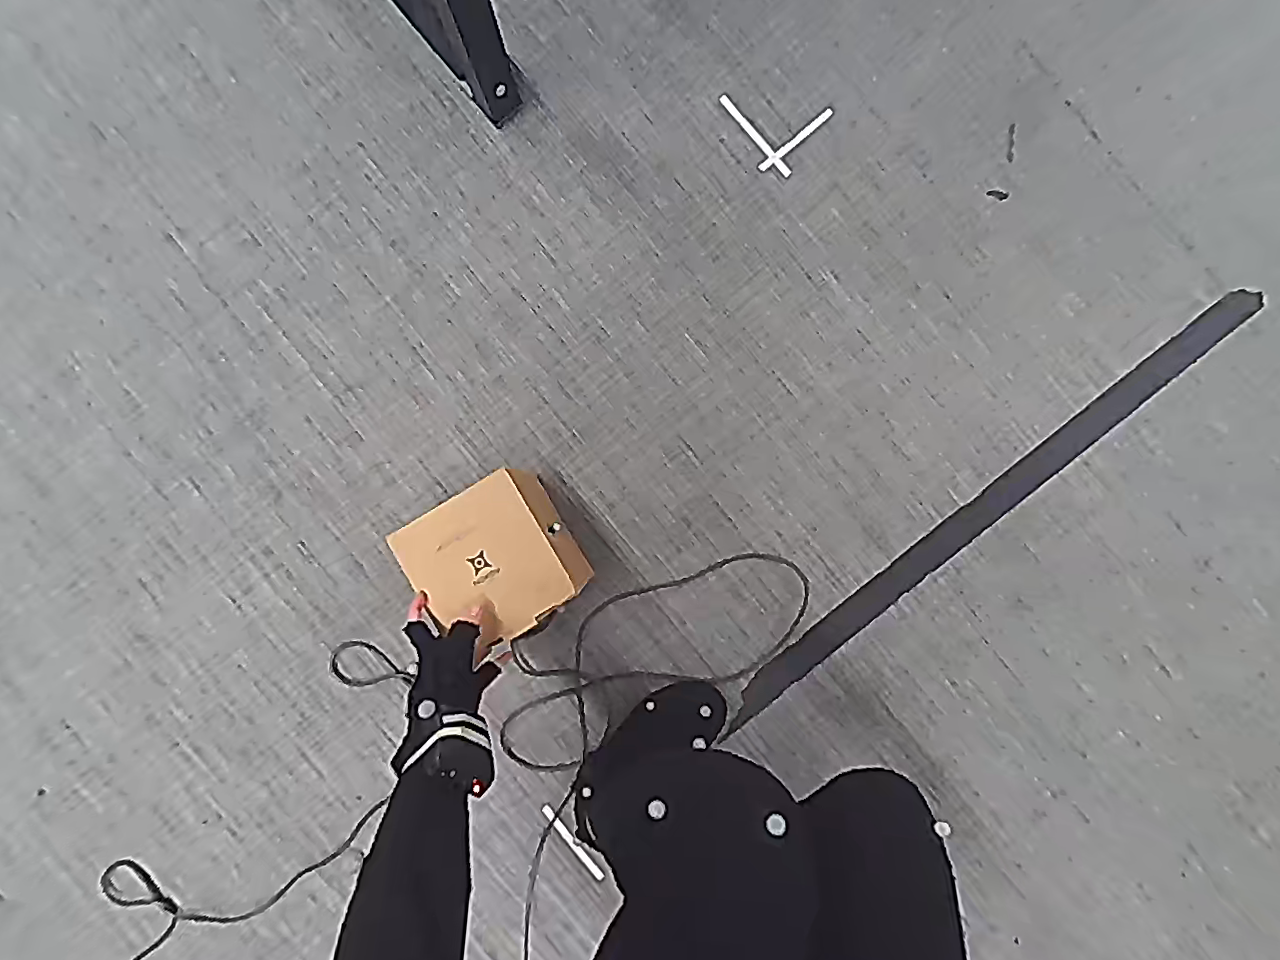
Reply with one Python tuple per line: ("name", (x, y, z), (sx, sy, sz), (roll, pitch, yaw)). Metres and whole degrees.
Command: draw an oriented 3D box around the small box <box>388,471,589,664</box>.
("small box", (-0.183, 0.105, 0.714), (0.168, 0.176, 0.179), (-32, 86, 0))
